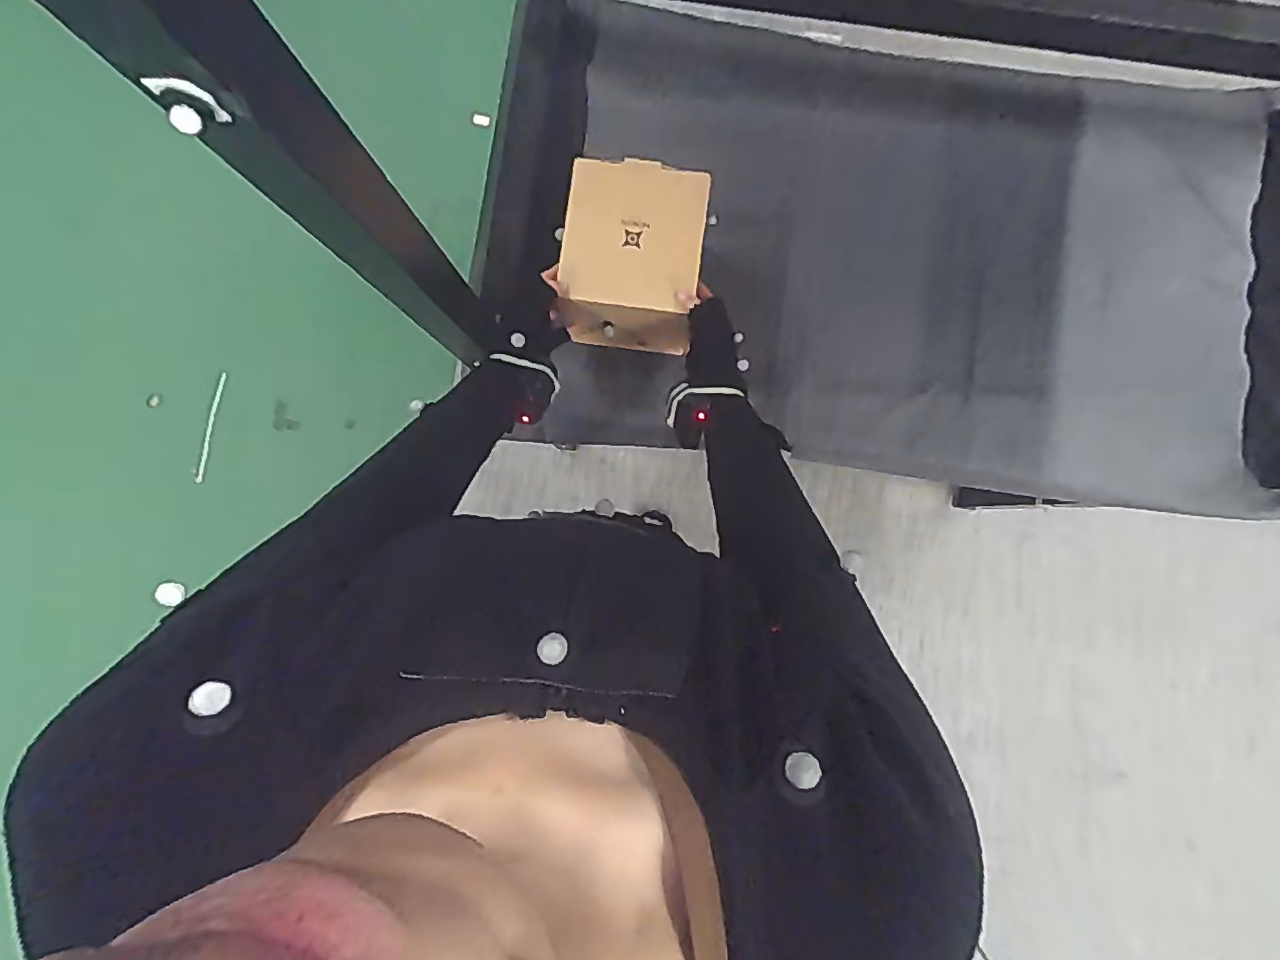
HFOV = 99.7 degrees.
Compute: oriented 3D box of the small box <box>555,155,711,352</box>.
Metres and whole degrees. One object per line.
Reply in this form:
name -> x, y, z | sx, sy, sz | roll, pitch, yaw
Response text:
small box -> -0.006, -0.281, 0.708 | 0.168, 0.176, 0.179 | 7, 85, 1
